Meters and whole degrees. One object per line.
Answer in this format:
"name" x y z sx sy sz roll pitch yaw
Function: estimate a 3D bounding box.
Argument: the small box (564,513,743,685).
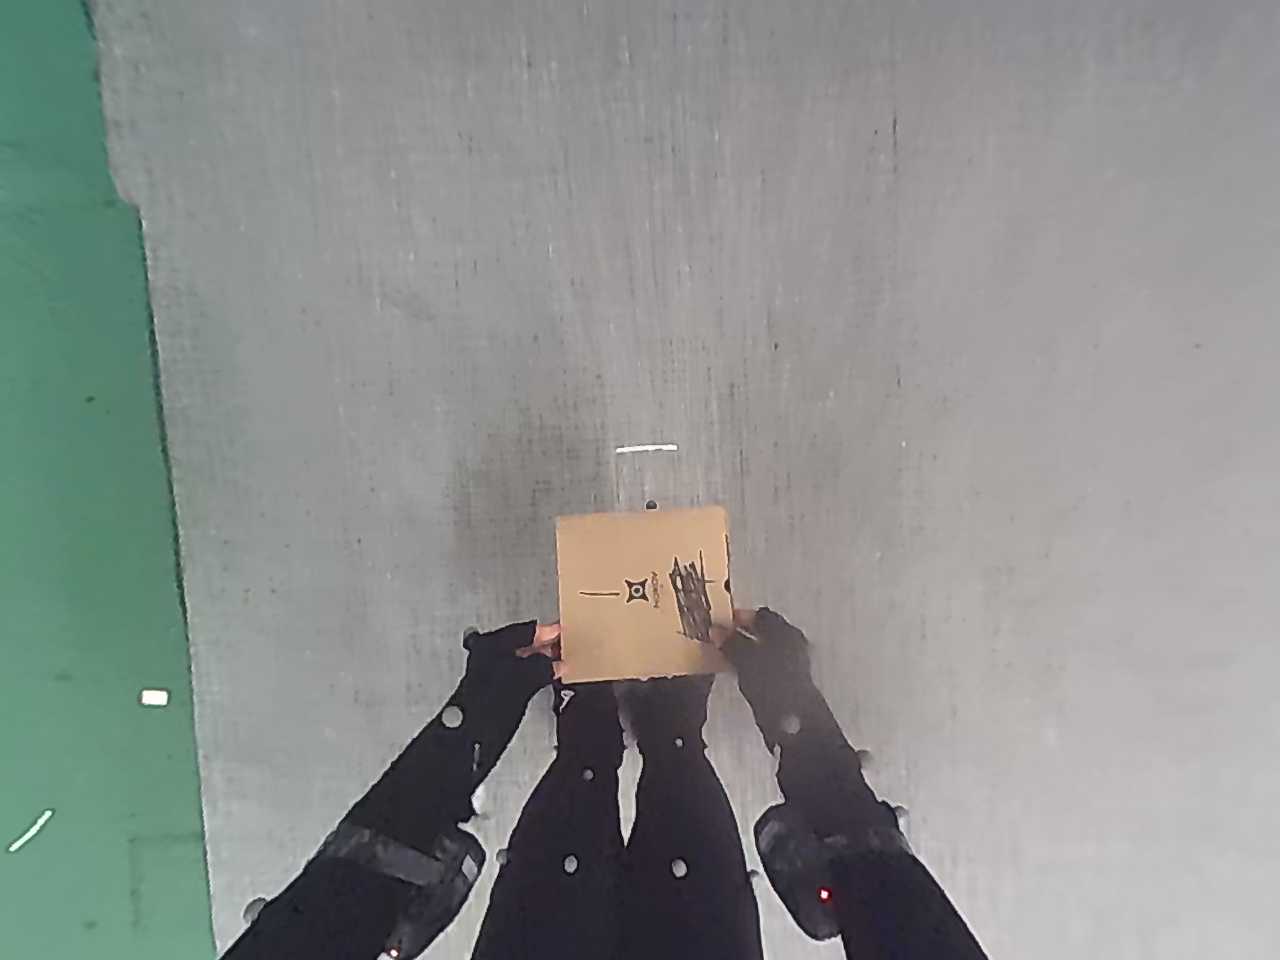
"small box" 0.013 0.133 0.628 0.179 0.176 0.168 -5 79 1
